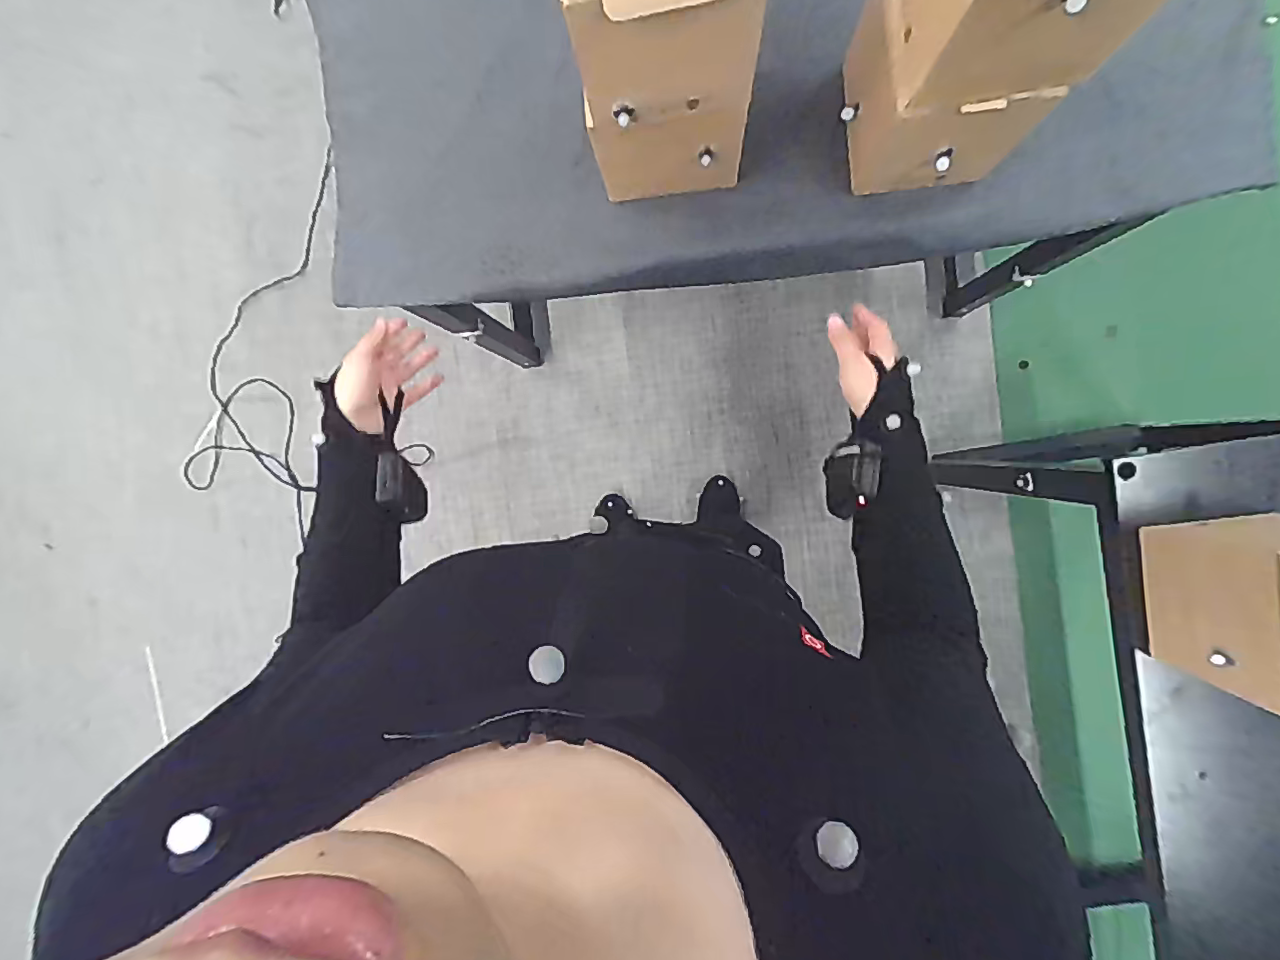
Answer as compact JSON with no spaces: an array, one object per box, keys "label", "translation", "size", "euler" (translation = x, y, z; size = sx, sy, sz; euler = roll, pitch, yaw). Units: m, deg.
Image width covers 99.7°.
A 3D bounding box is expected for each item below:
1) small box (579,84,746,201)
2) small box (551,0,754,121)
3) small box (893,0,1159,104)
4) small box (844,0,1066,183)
[{"label":"small box","translation":[0.026,-0.464,0.649],"size":[0.179,0.176,0.168],"euler":[-5,91,7]},{"label":"small box","translation":[0.009,-0.461,0.486],"size":[0.168,0.176,0.179],"euler":[-9,89,6]},{"label":"small box","translation":[0.333,-0.459,0.452],"size":[0.179,0.176,0.168],"euler":[-6,91,7]},{"label":"small box","translation":[0.340,-0.464,0.615],"size":[0.168,0.176,0.179],"euler":[-4,92,7]}]
